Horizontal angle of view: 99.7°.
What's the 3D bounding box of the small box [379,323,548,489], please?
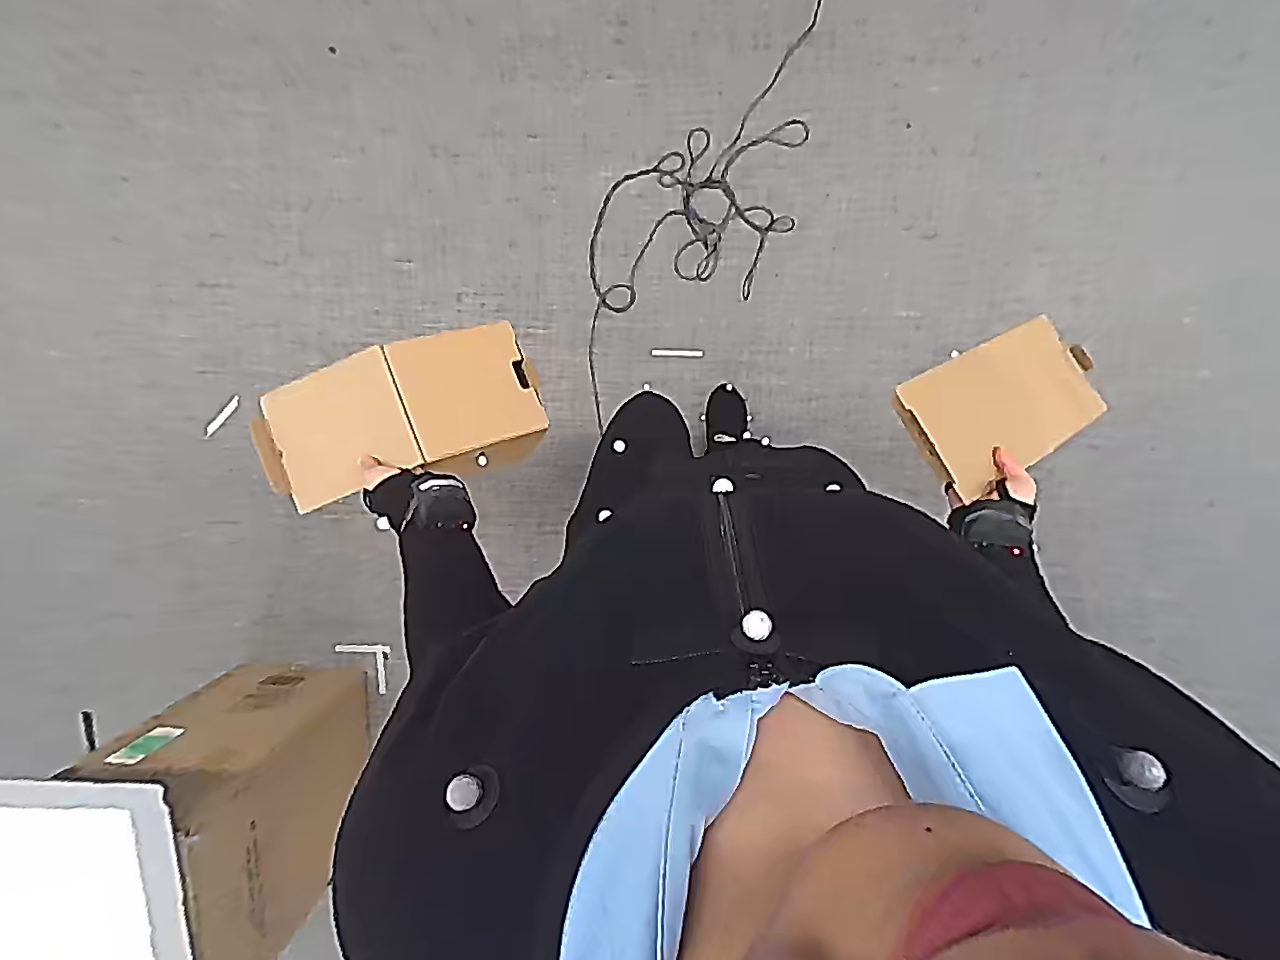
[{"bbox_3d":[-0.257,-0.100,0.782,0.179,0.176,0.168,-20,84,-27],"label":"small box"}]
